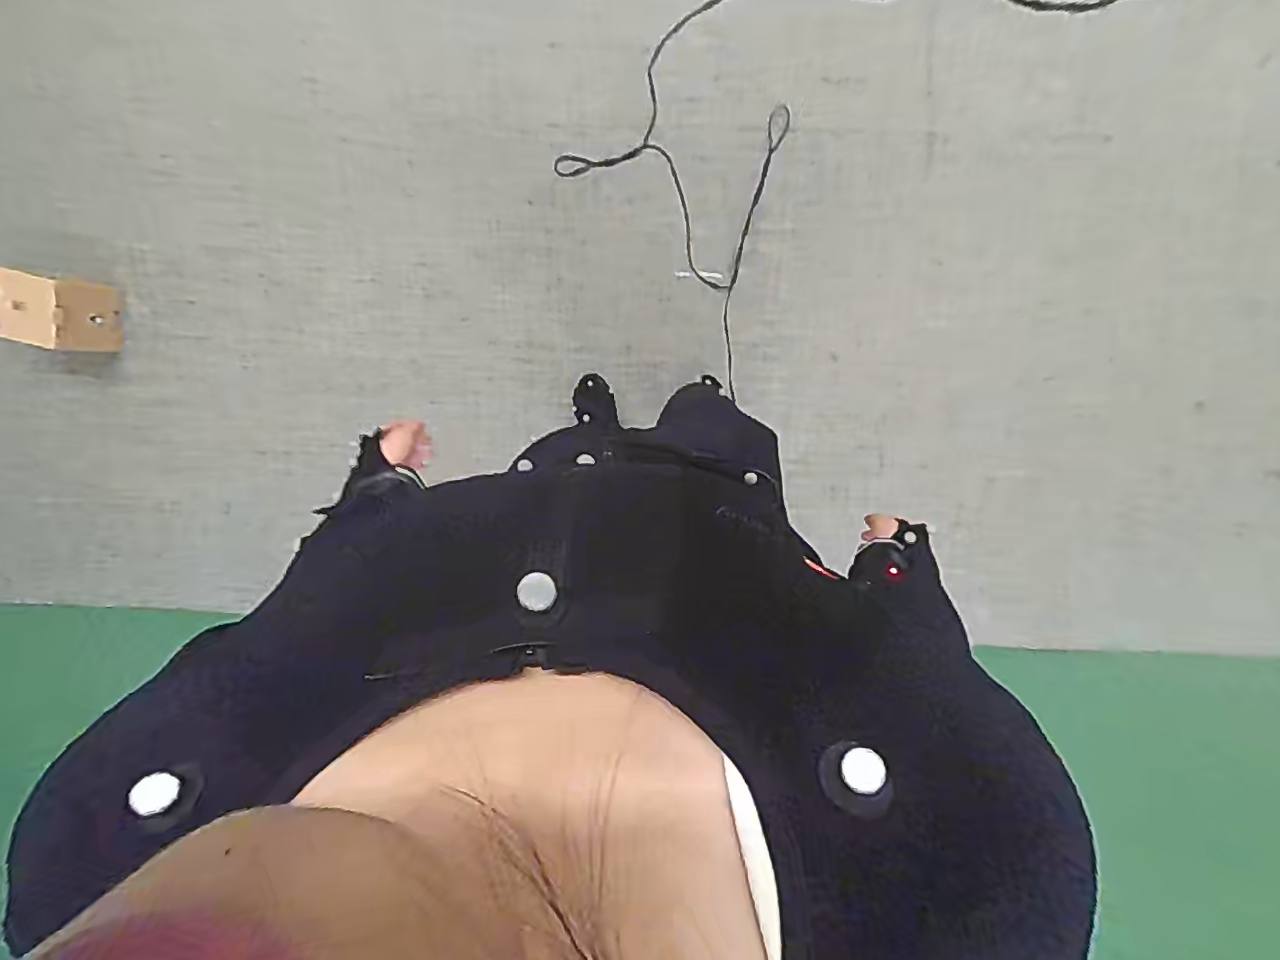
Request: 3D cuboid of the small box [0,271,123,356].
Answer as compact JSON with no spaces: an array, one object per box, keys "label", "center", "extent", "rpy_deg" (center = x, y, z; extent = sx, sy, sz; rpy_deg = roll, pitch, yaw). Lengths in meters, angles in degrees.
[{"label":"small box","center":[-1.459,-0.414,1.358],"extent":[0.179,0.176,0.168],"rpy_deg":[14,102,-2]}]
